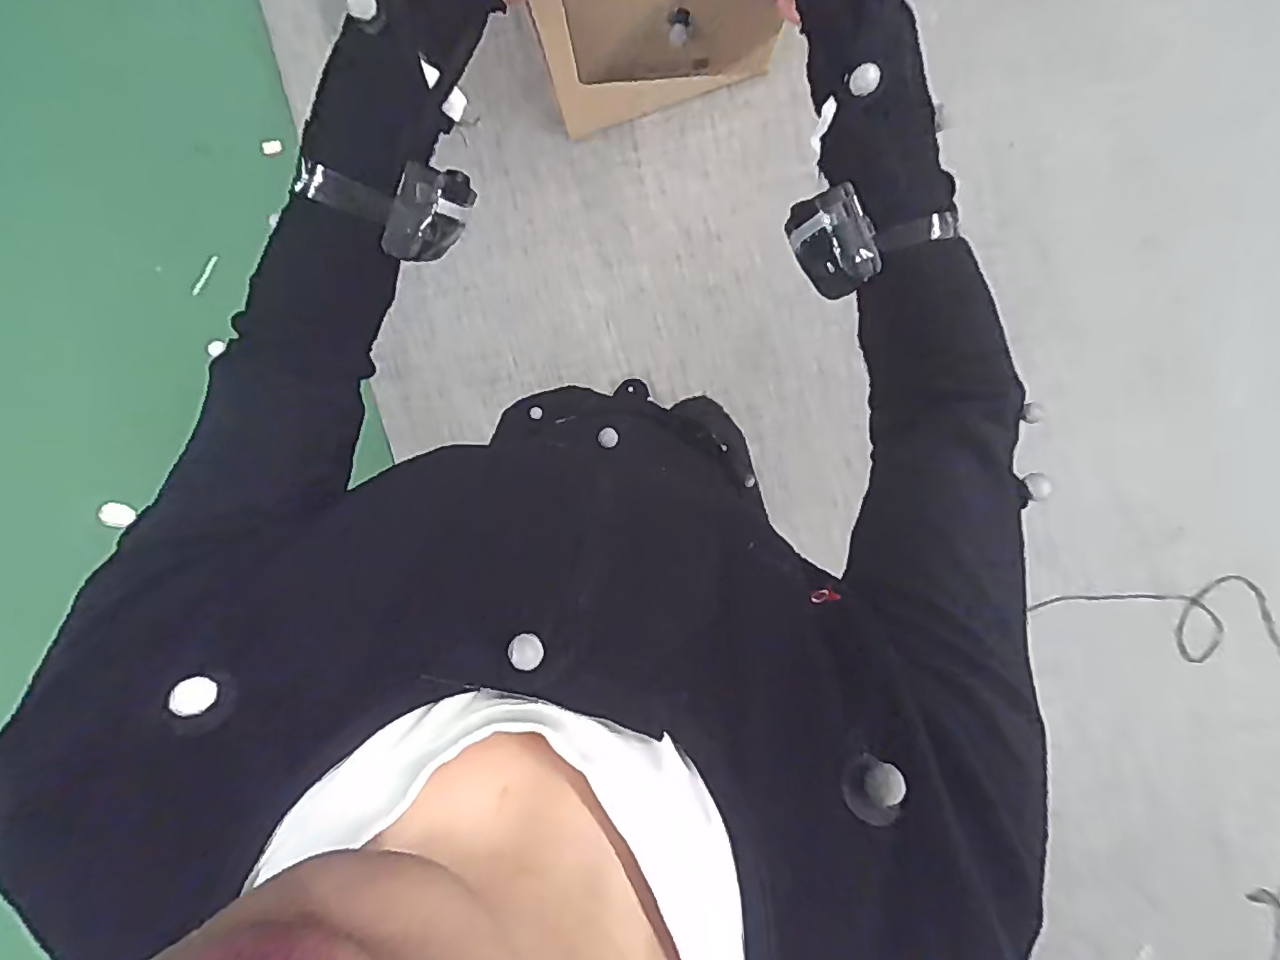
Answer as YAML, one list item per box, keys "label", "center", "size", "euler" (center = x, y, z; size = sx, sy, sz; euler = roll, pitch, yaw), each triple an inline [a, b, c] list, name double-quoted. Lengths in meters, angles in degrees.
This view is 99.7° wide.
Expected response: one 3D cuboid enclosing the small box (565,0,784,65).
- label: "small box"
  center: [0.024, -0.424, 0.375]
  size: [0.168, 0.176, 0.179]
  euler: [-3, 100, 2]
